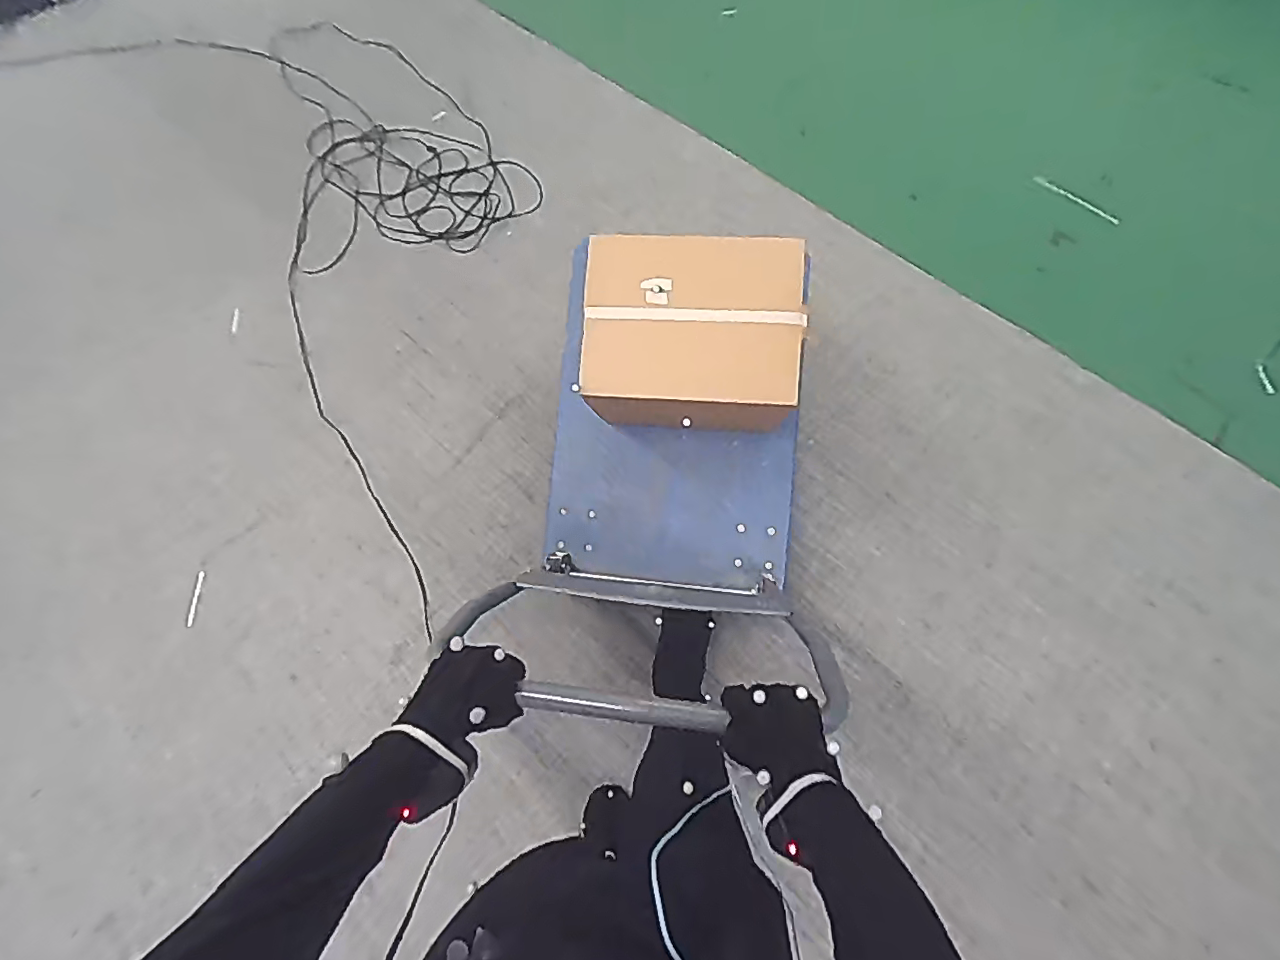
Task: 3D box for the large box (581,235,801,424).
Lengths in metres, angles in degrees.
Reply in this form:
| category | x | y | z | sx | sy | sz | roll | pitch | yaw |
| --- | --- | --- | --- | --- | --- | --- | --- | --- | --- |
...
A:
| category | x | y | z | sx | sy | sz | roll | pitch | yaw |
| --- | --- | --- | --- | --- | --- | --- | --- | --- | --- |
| large box | 0.111 | -0.292 | 1.146 | 0.408 | 0.320 | 0.320 | 2 | 86 | 7 |
